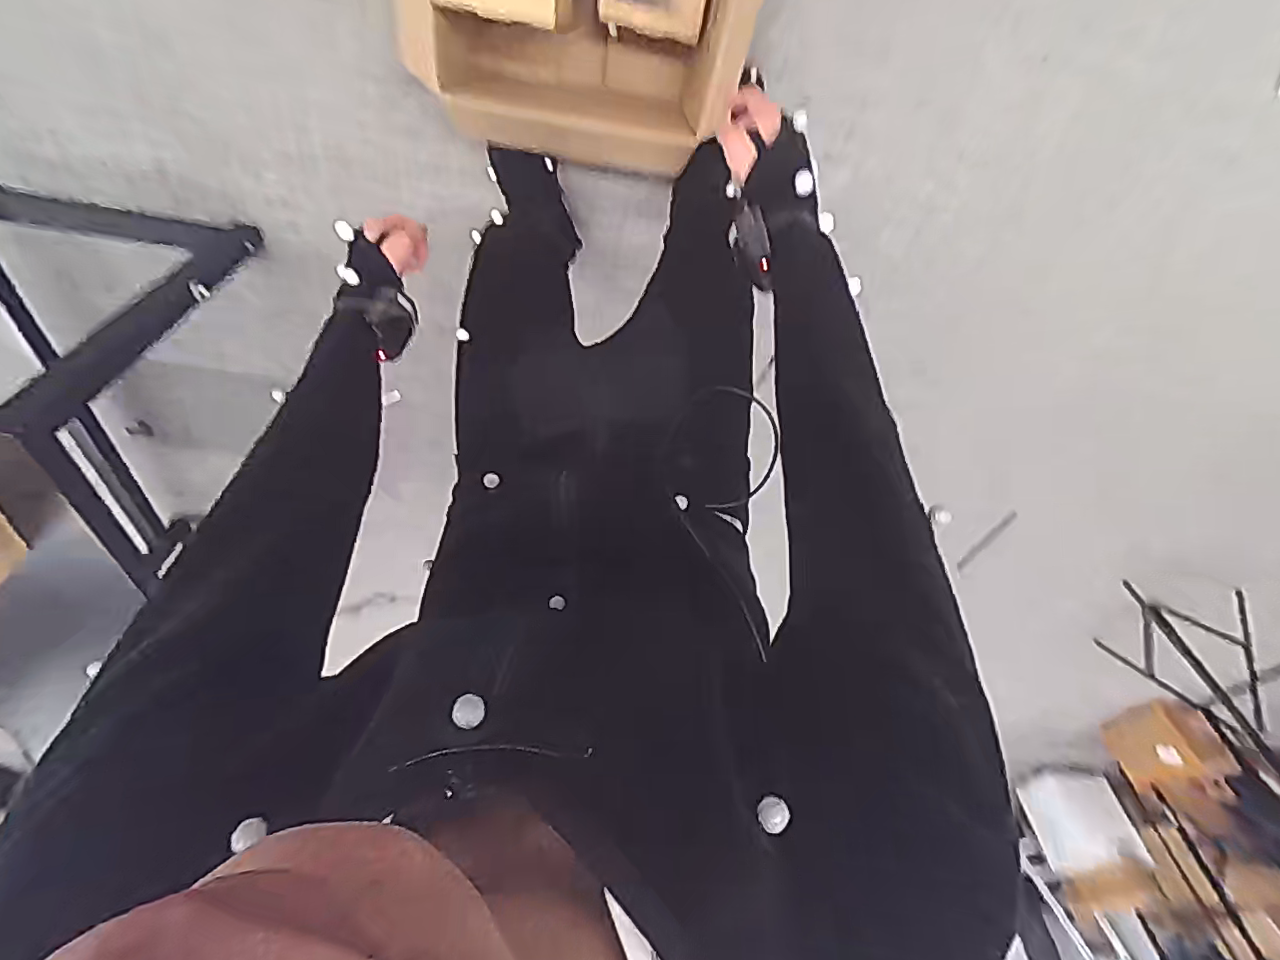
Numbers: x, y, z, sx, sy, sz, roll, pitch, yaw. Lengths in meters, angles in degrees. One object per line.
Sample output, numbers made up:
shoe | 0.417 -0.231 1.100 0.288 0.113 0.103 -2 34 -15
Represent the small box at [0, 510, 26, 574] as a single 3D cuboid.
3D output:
small box | -1.049 0.101 0.752 0.179 0.176 0.168 13 134 -15
